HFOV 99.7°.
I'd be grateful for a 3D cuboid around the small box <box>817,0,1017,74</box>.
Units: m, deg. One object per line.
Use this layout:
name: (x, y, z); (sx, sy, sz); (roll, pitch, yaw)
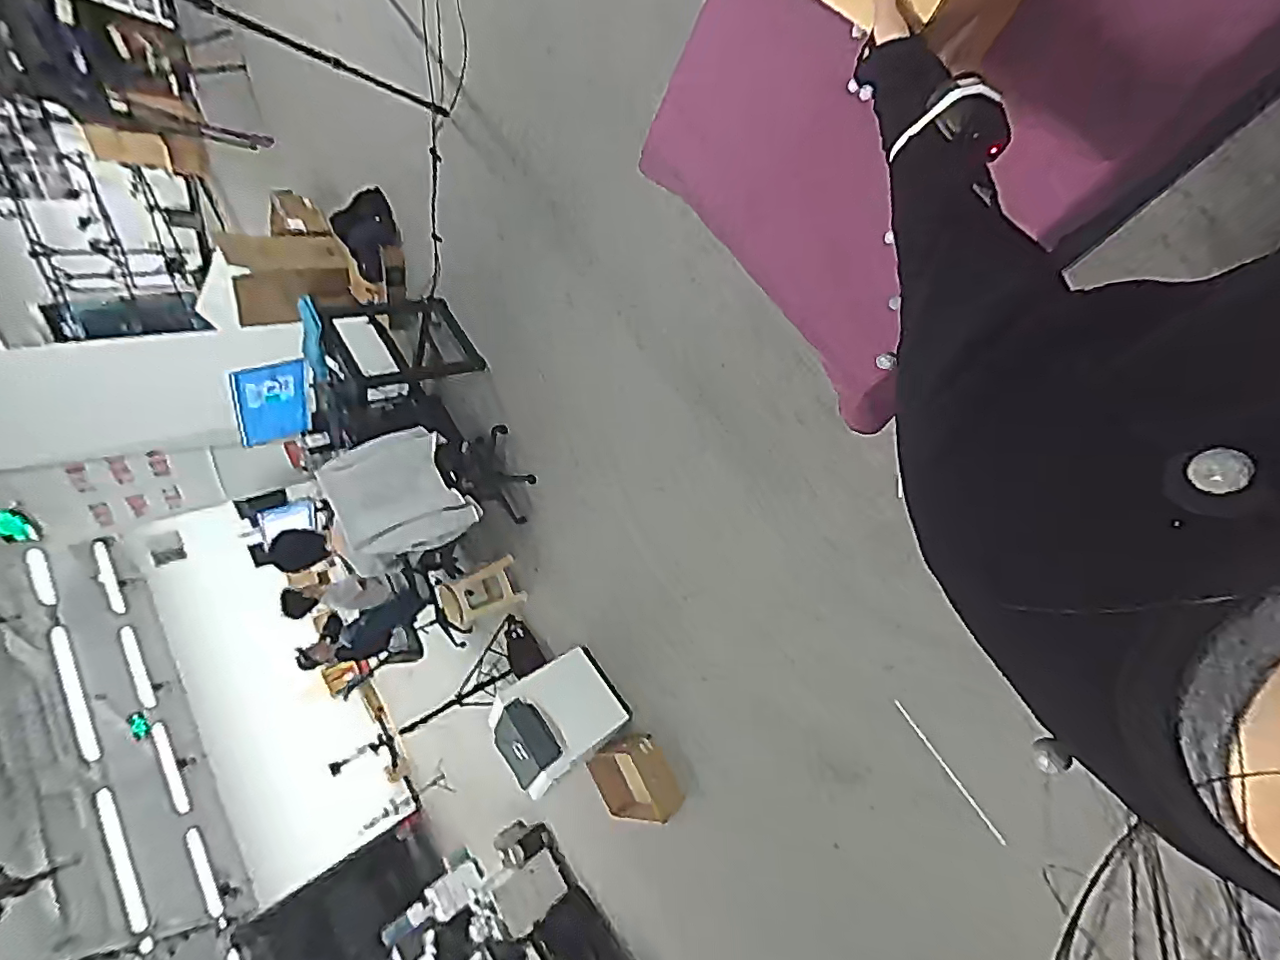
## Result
small box: (0.304, -0.549, 0.543); (0.168, 0.176, 0.179); (51, 139, 17)
